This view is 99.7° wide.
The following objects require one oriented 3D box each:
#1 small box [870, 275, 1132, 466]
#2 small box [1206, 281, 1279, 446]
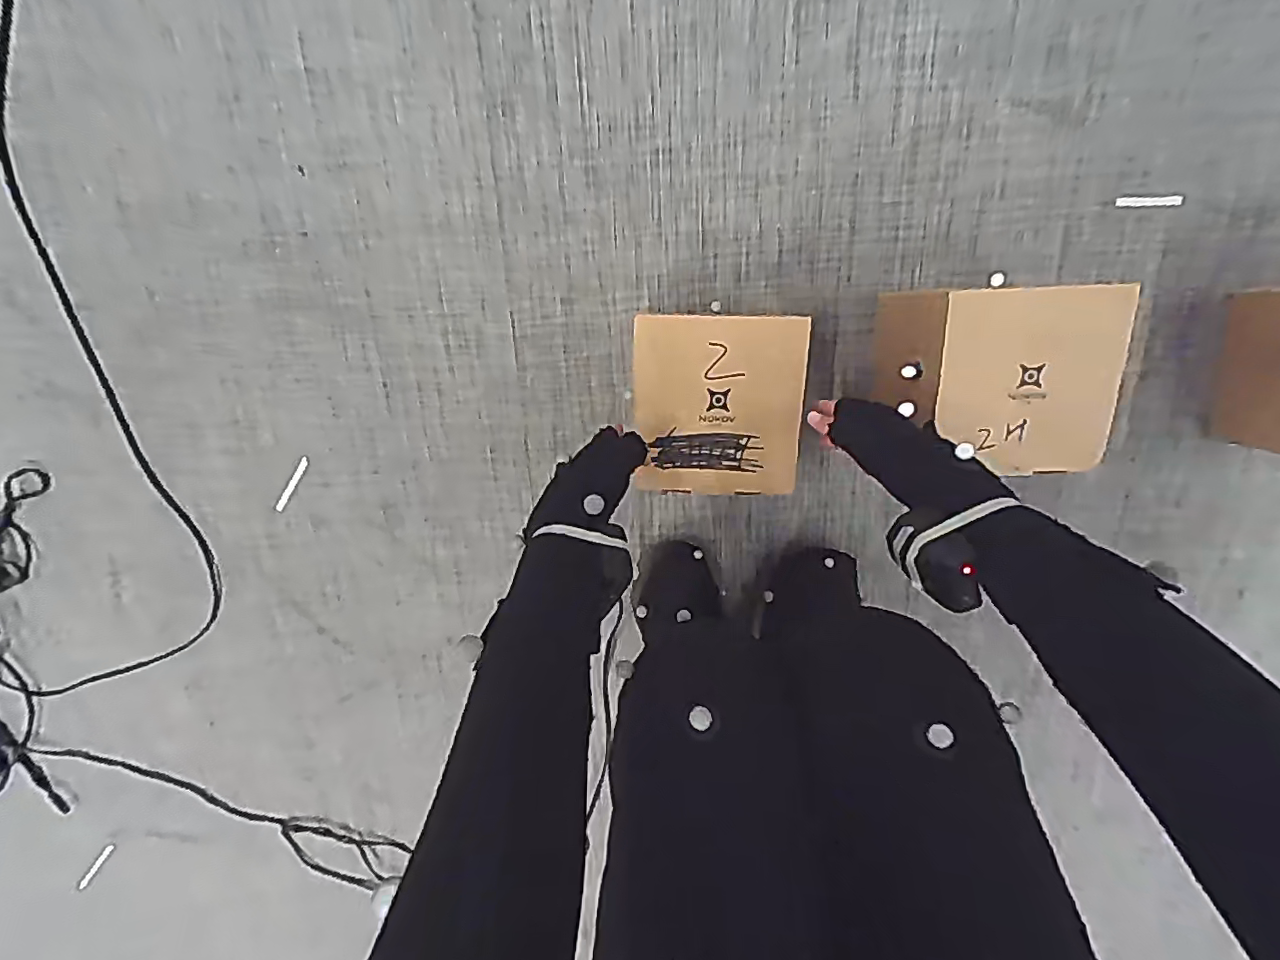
[{"bbox_3d":[0.364,-0.120,0.586,0.168,0.176,0.179,0,107,4],"label":"small box"},{"bbox_3d":[0.766,-0.125,0.569,0.168,0.176,0.179,-6,106,4],"label":"small box"}]
